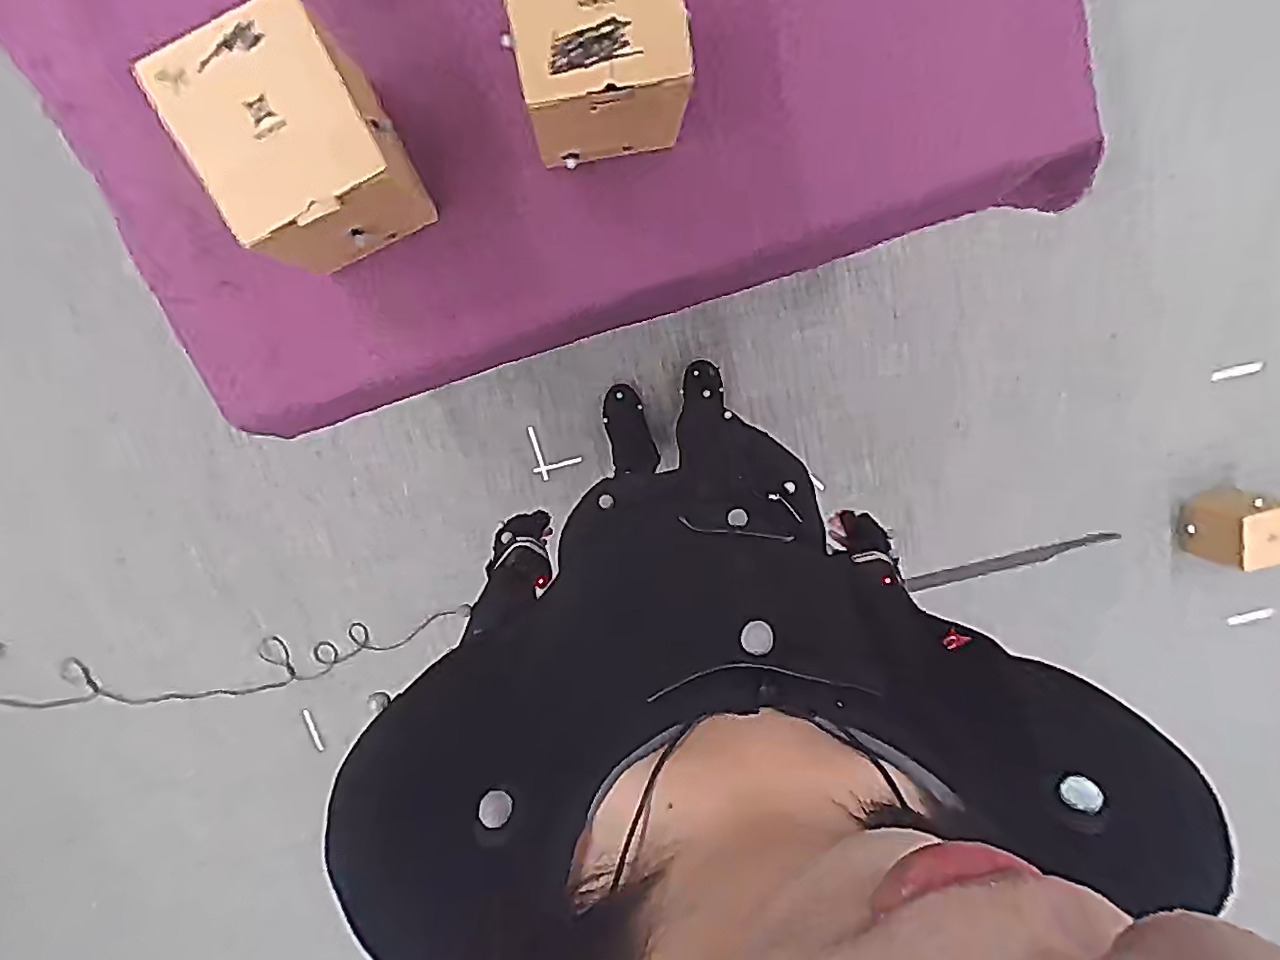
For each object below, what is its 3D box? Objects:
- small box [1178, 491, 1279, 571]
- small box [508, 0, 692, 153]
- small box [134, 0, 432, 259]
[{"bbox_3d":[1.726,0.141,1.564,0.179,0.176,0.168,-14,101,0],"label":"small box"},{"bbox_3d":[-0.047,-0.476,0.578,0.168,0.176,0.179,-11,101,-2],"label":"small box"},{"bbox_3d":[-0.354,-0.358,0.582,0.168,0.176,0.179,-26,103,1],"label":"small box"}]
